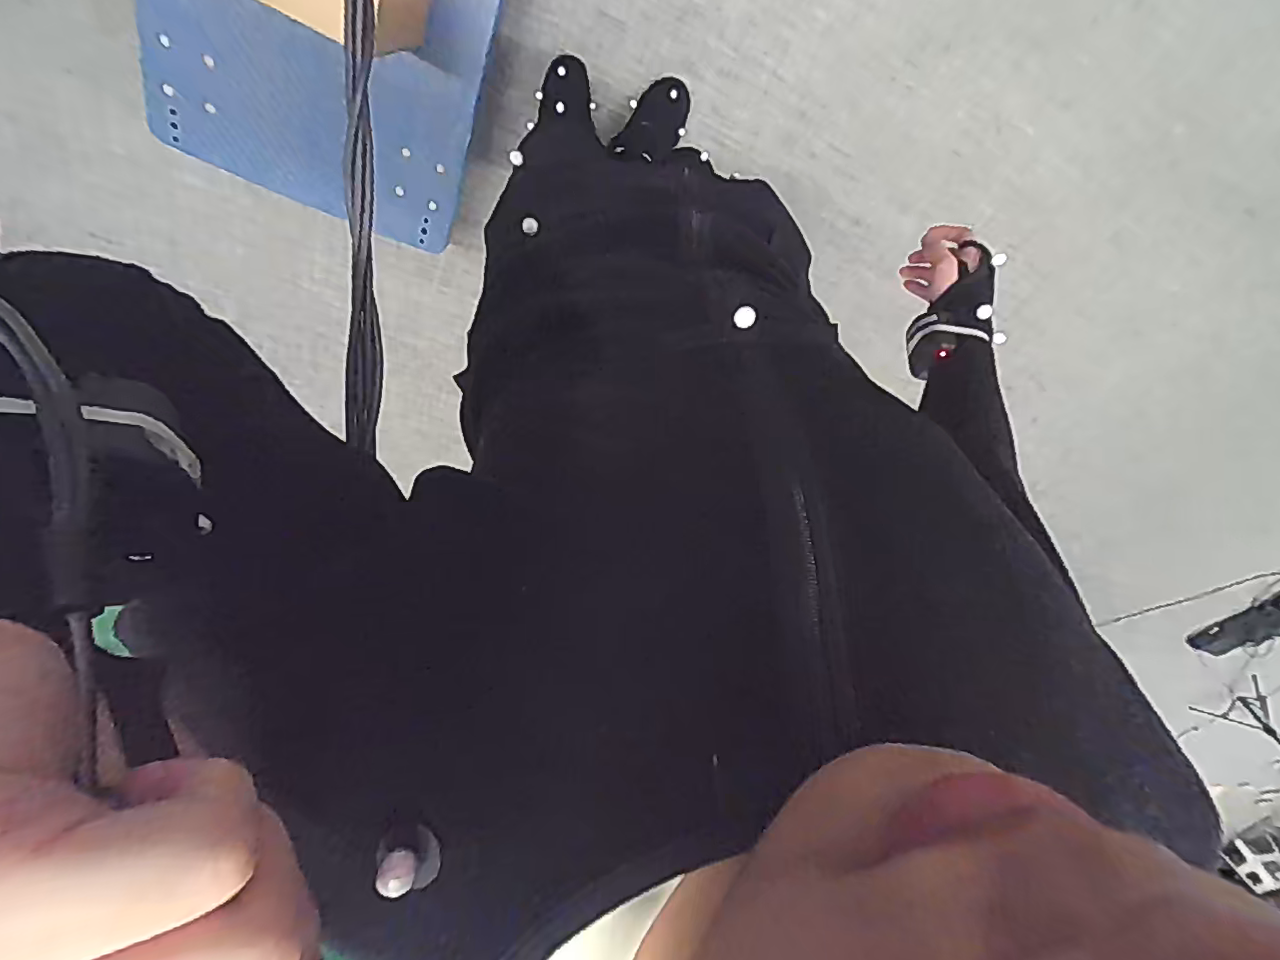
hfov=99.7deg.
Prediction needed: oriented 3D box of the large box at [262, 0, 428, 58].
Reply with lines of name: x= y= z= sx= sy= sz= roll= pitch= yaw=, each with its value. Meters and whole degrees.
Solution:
large box: x=-0.444 y=-0.891 z=0.725 sx=0.320 sy=0.320 sz=0.408 roll=18 pitch=129 yaw=-19
